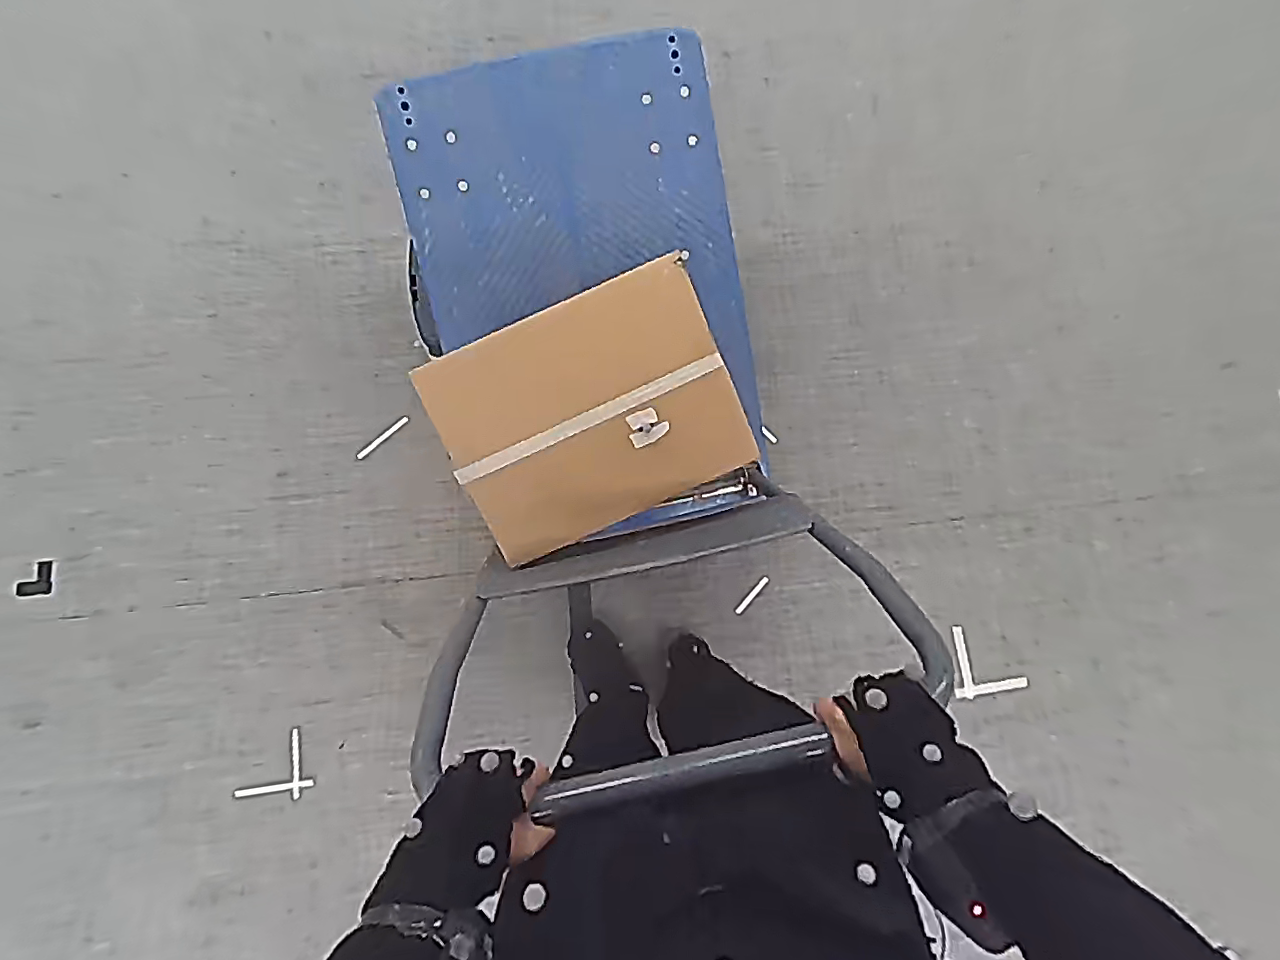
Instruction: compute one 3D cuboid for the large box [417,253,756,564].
[{"bbox_3d":[-0.082,-0.116,0.912,0.408,0.320,0.320,-25,102,-1],"label":"large box"}]
